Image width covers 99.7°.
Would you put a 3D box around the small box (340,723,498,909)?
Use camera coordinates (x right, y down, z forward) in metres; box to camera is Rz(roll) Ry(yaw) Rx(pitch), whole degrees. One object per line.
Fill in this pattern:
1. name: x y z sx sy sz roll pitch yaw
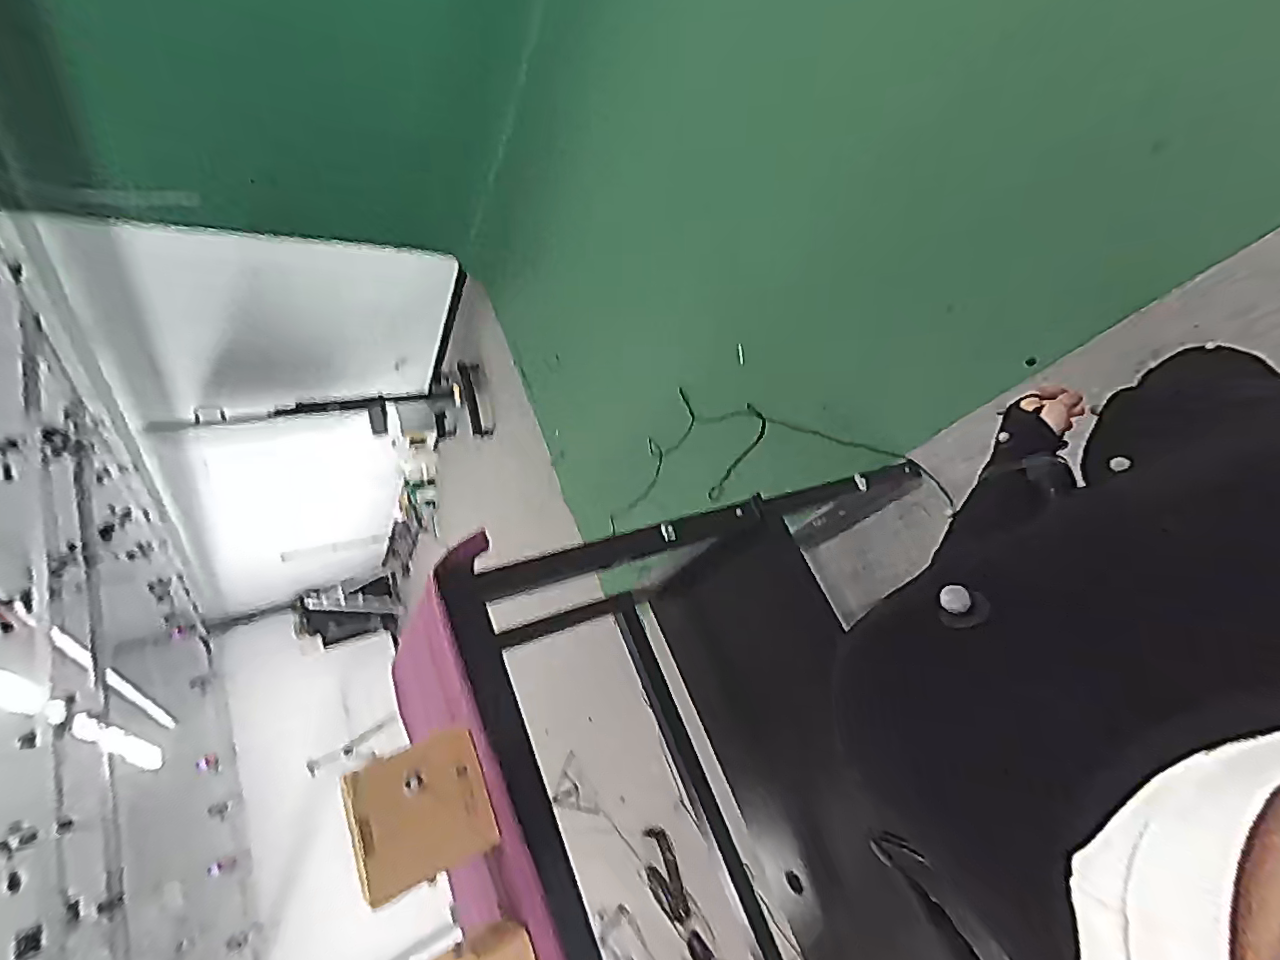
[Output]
1. small box: -0.321 0.471 0.786 0.179 0.176 0.168 -42 65 51

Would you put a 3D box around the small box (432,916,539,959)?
1. small box: -0.210 0.710 0.695 0.168 0.176 0.179 -49 59 50
